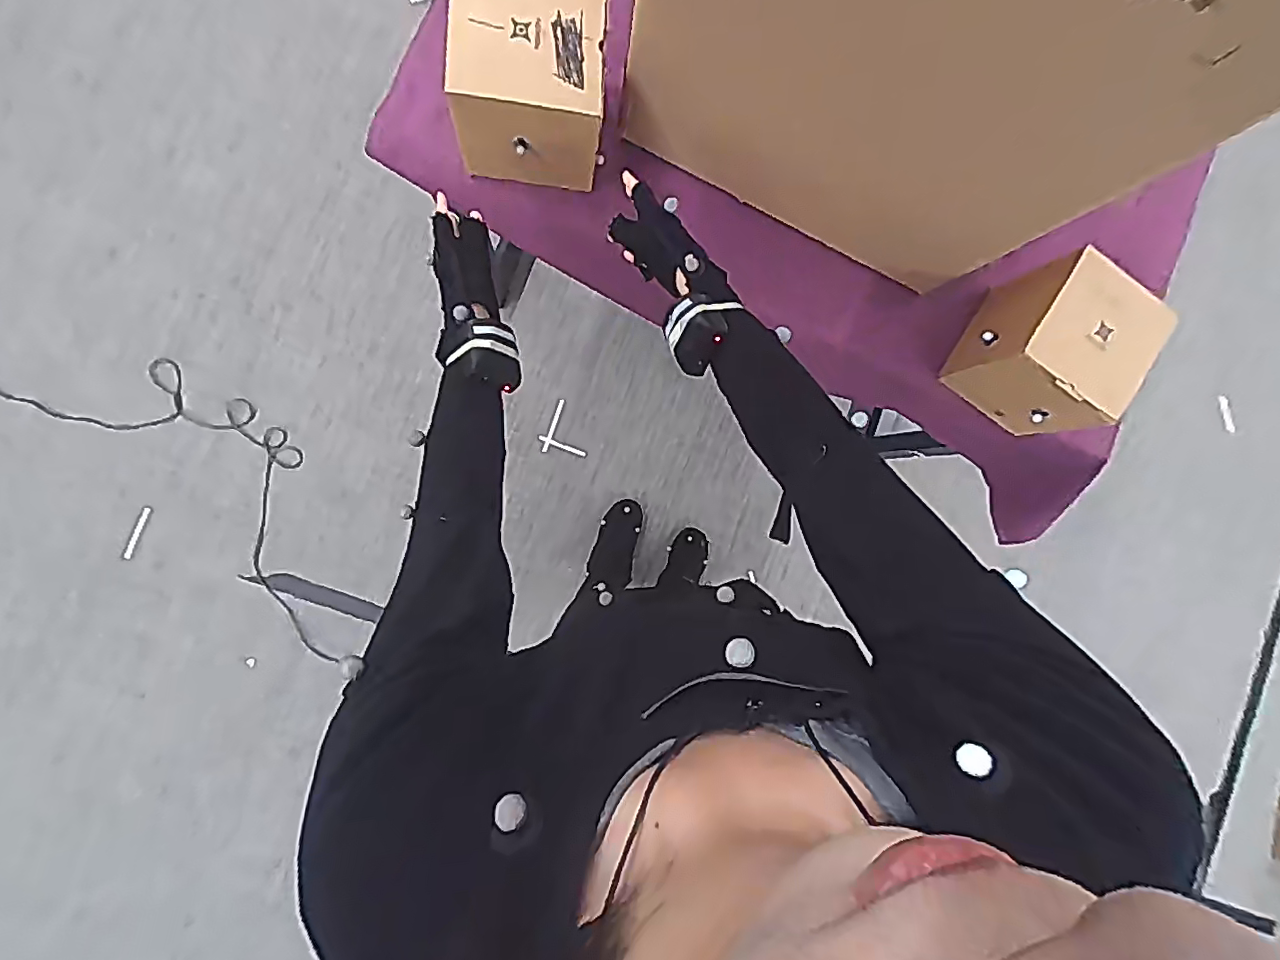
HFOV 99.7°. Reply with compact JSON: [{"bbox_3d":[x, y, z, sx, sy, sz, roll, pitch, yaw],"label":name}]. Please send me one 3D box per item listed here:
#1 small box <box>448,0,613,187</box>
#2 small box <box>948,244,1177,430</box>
[{"bbox_3d":[-0.133,-0.500,0.684,0.179,0.176,0.168,3,89,-9],"label":"small box"},{"bbox_3d":[0.587,-0.189,0.777,0.168,0.176,0.179,33,84,-7],"label":"small box"}]
